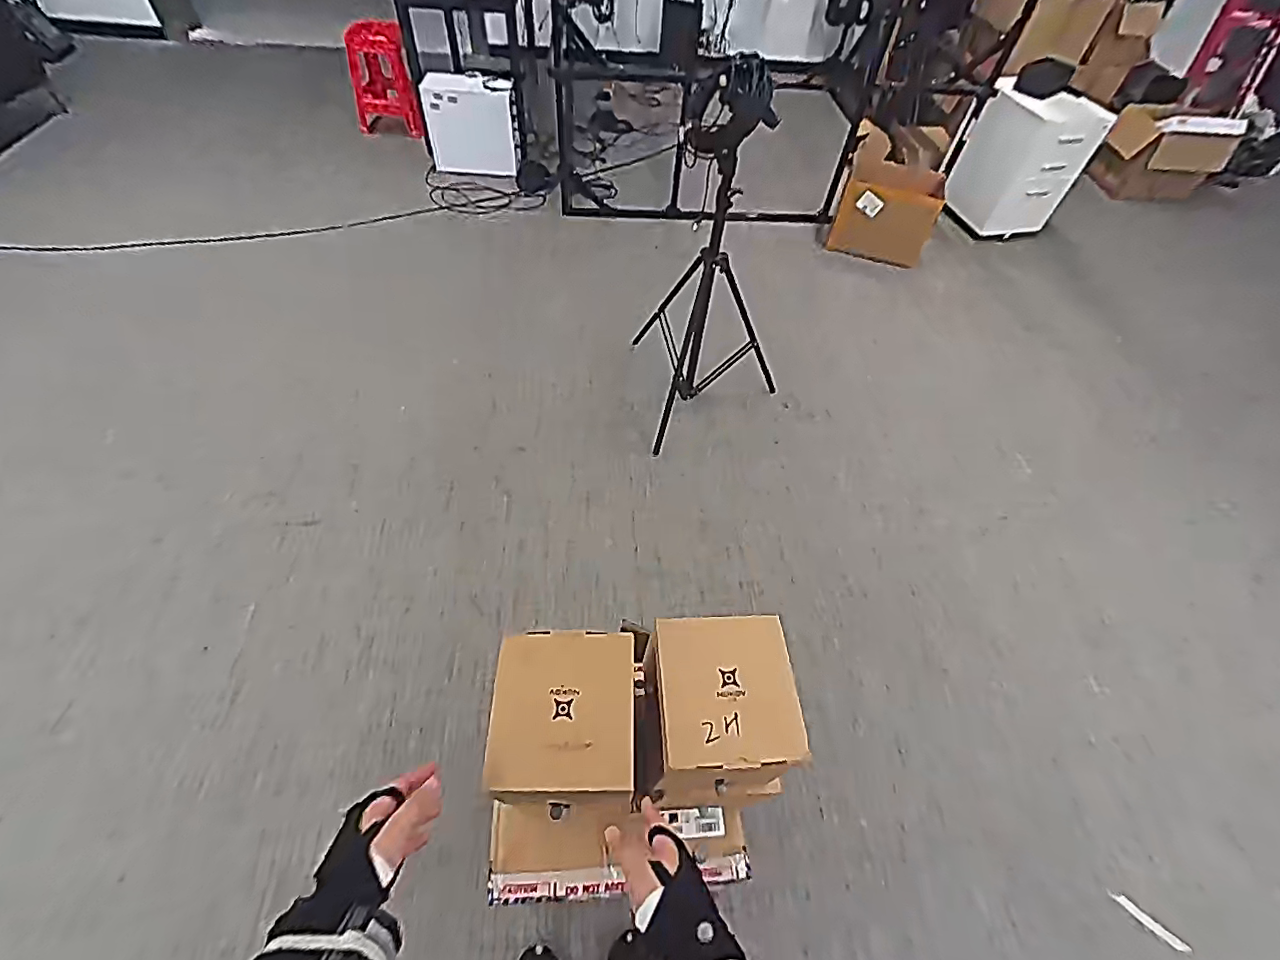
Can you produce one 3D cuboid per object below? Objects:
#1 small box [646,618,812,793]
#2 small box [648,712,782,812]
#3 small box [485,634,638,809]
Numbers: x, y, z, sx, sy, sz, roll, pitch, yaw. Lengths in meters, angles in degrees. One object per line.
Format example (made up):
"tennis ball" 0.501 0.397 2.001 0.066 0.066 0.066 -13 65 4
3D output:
"small box" 0.100 0.298 0.712 0.168 0.176 0.179 0 54 -6
"small box" 0.103 0.404 0.839 0.168 0.176 0.179 2 55 -5
"small box" -0.087 0.310 0.687 0.168 0.176 0.179 -1 56 -2
